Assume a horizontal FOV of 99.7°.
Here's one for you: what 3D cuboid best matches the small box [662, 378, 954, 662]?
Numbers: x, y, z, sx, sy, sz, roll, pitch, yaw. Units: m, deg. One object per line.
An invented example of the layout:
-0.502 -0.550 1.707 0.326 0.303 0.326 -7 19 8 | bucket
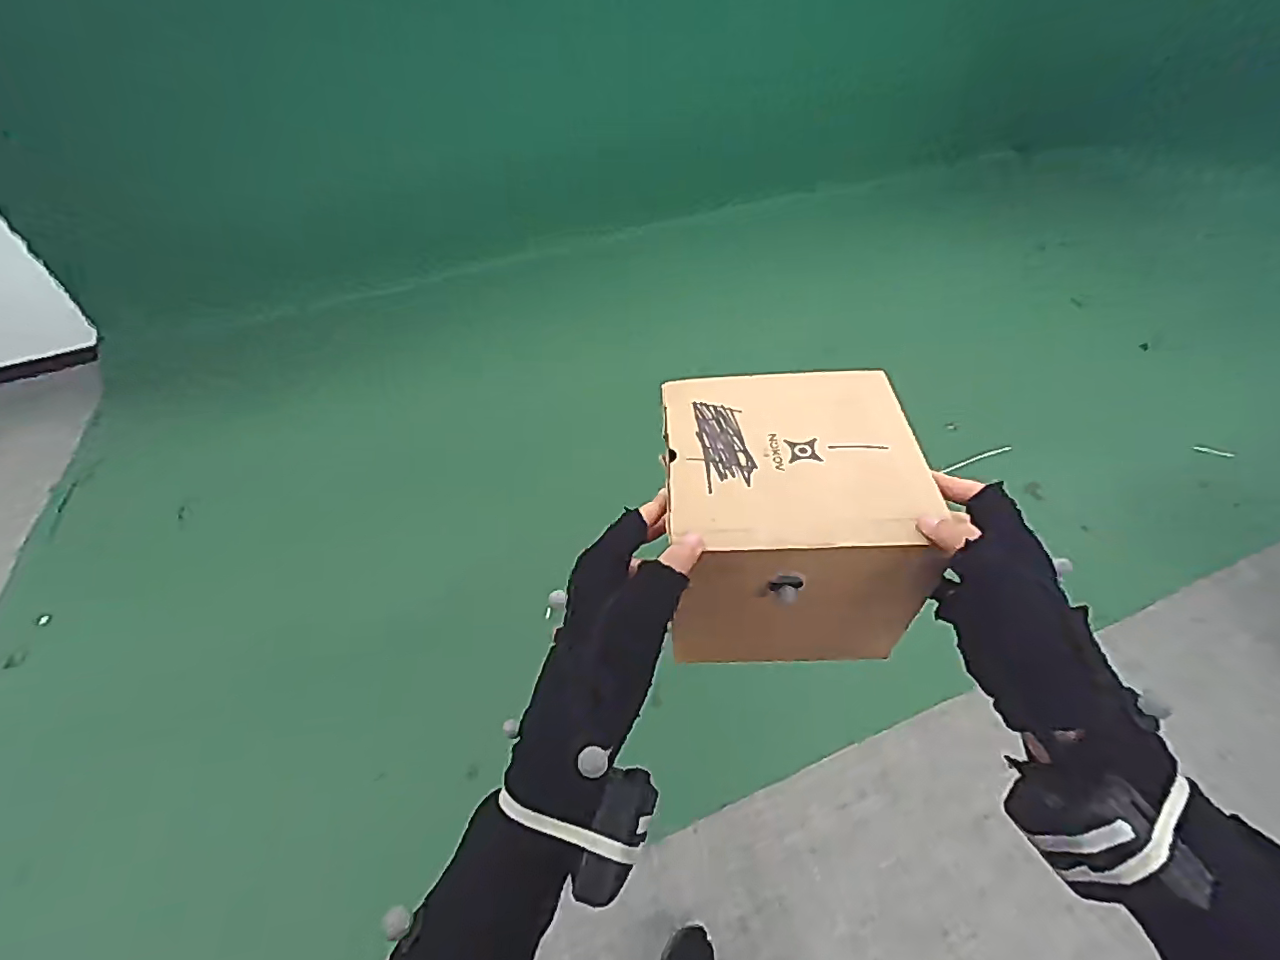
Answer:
0.110 0.037 0.438 0.179 0.176 0.168 -2 49 3 | small box
